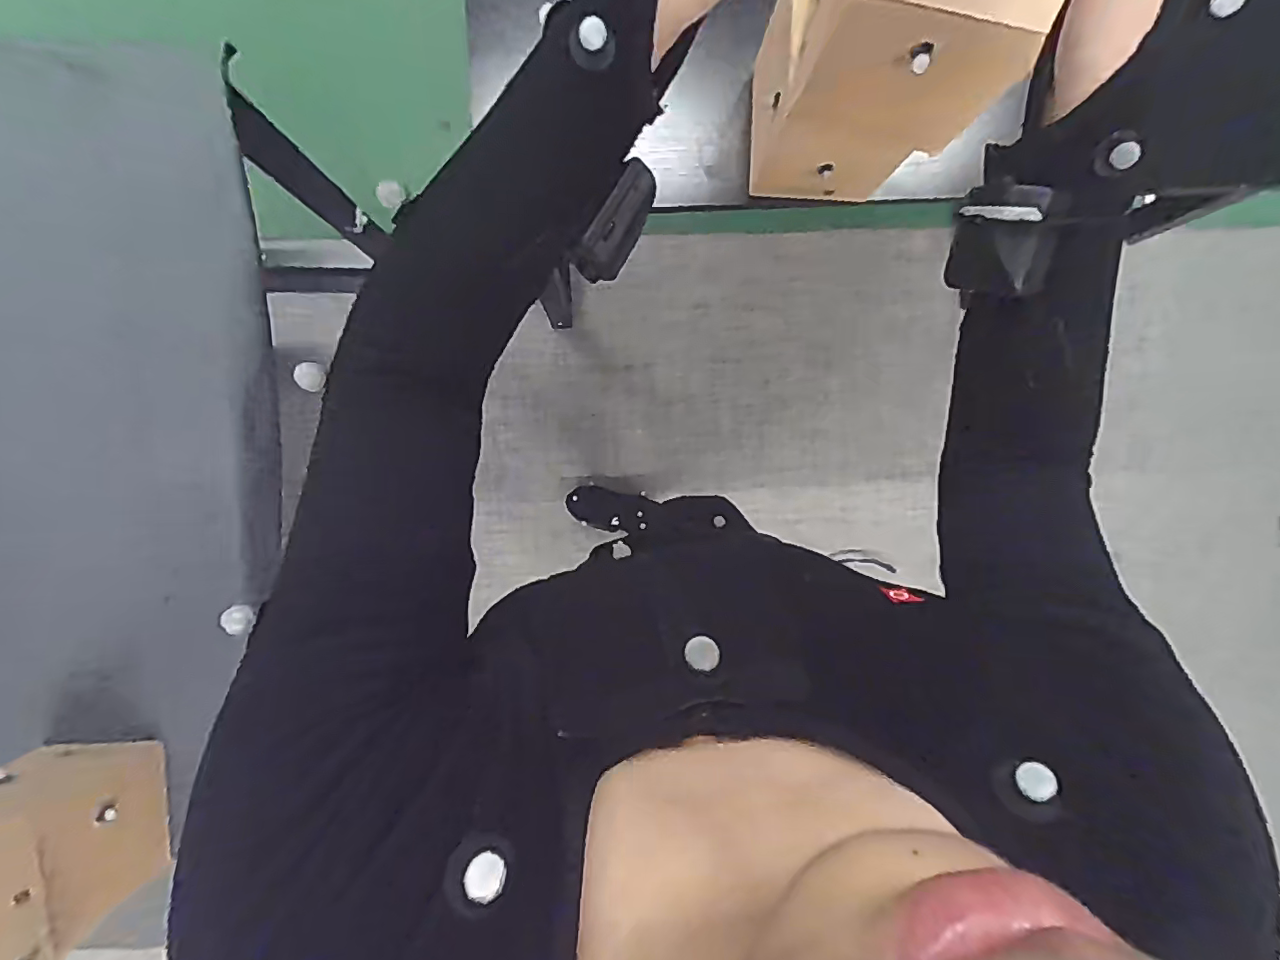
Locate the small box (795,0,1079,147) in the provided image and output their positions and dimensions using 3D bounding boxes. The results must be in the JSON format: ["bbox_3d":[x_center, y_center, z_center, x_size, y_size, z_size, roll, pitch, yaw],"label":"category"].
[{"bbox_3d":[0.265,-0.442,0.496,0.179,0.176,0.168,9,92,-3],"label":"small box"}]

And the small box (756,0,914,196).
[{"bbox_3d":[0.244,-0.470,0.657,0.168,0.176,0.179,2,92,-3],"label":"small box"}]

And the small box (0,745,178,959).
[{"bbox_3d":[-0.714,0.442,0.658,0.168,0.176,0.179,-2,93,0],"label":"small box"}]
